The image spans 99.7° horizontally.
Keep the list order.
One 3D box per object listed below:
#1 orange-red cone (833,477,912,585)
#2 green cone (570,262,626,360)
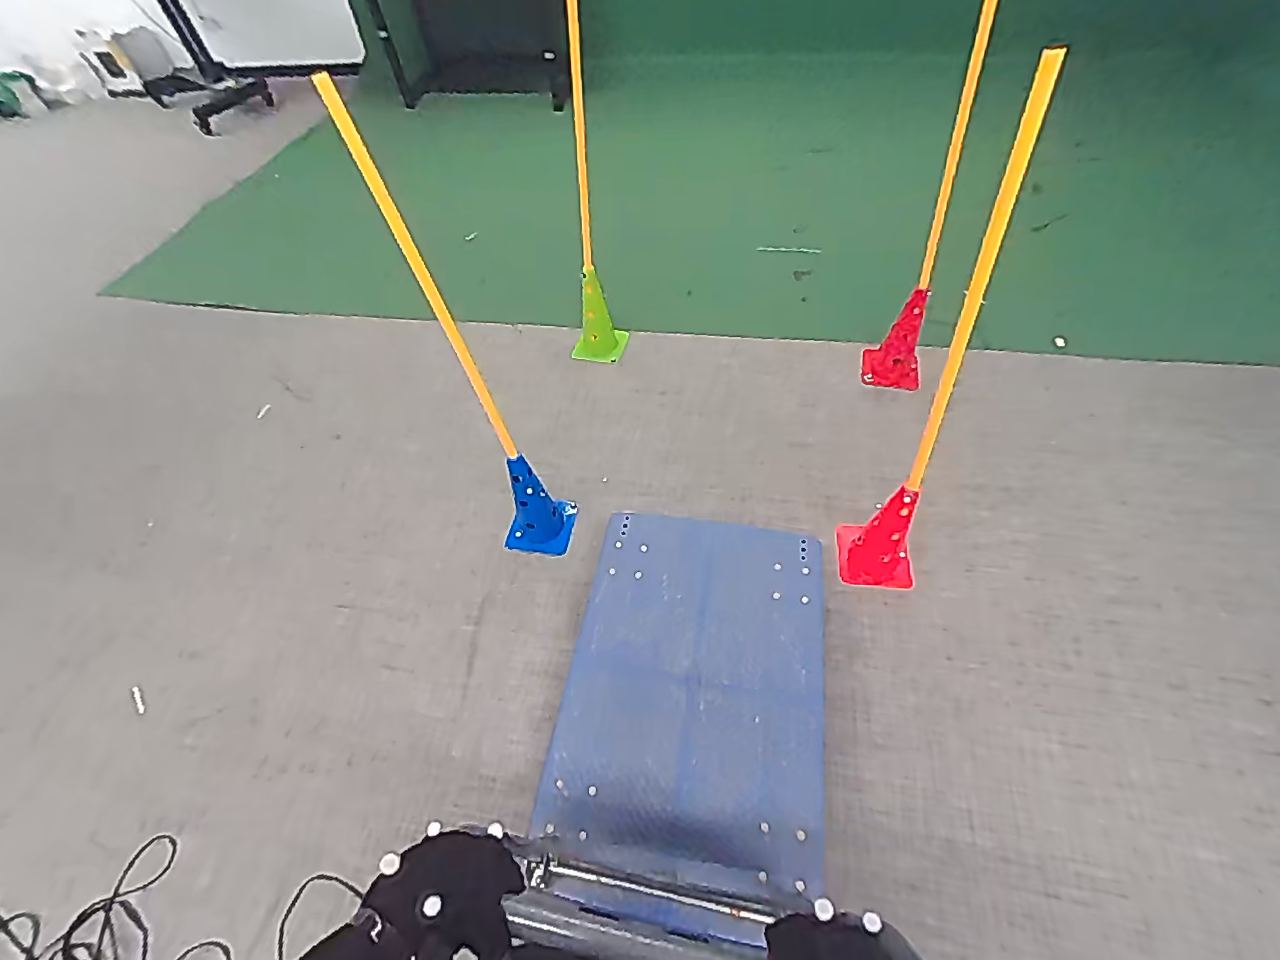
[{"bbox_3d":[0.661,0.114,1.466,0.199,0.360,0.198,4,54,10],"label":"orange-red cone"},{"bbox_3d":[-0.185,-0.674,2.102,0.202,0.368,0.200,9,55,12],"label":"green cone"}]
